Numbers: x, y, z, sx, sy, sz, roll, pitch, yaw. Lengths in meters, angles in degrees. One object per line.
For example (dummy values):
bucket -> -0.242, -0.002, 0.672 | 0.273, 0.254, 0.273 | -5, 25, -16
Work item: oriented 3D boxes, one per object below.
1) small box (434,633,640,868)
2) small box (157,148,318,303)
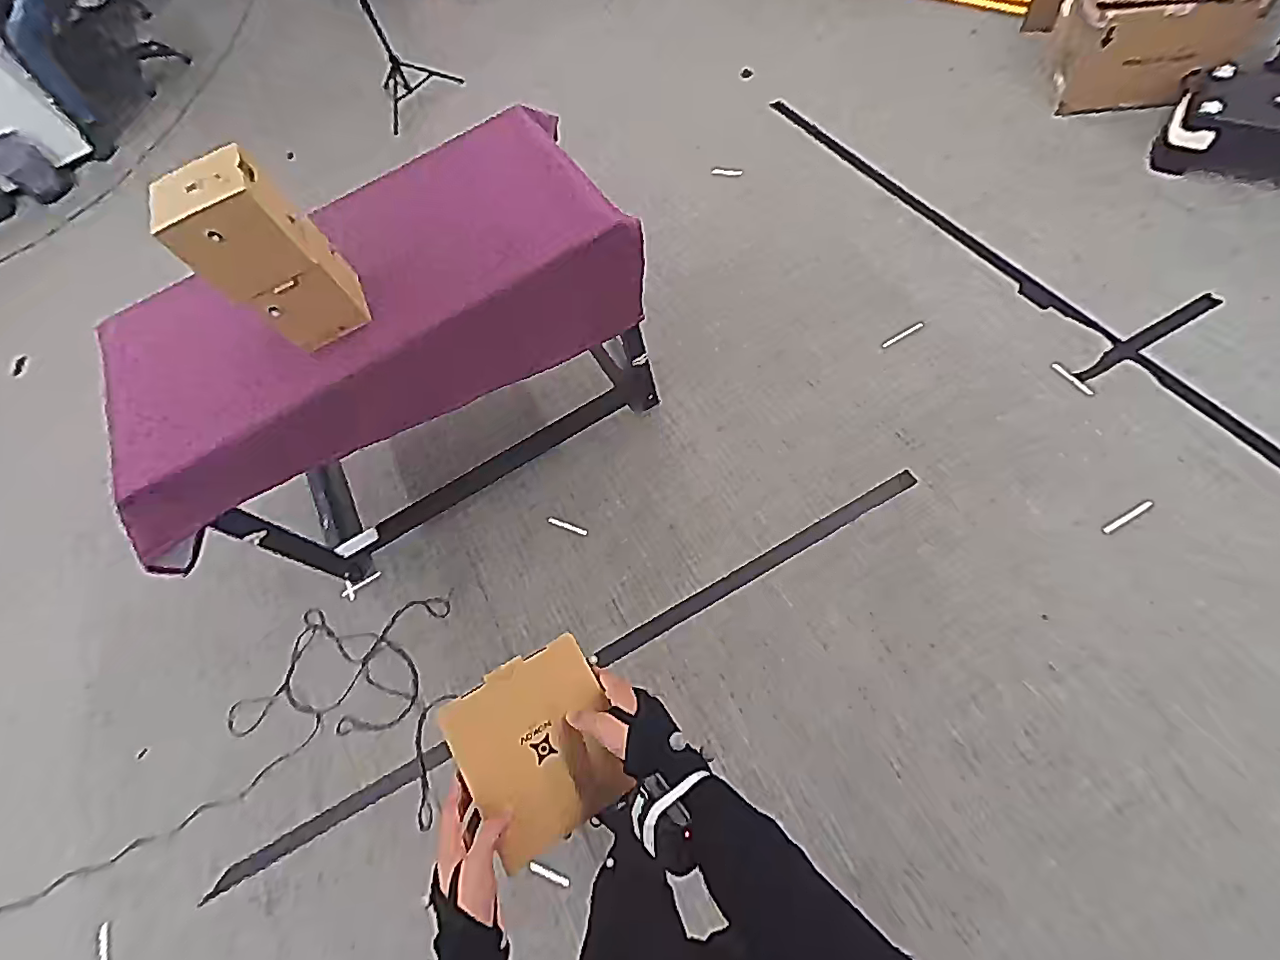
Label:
small box -> -0.118, 0.309, 0.649 | 0.168, 0.176, 0.179 | -27, 72, -18
small box -> -0.748, -0.469, 1.015 | 0.179, 0.176, 0.168 | -27, 62, -3
